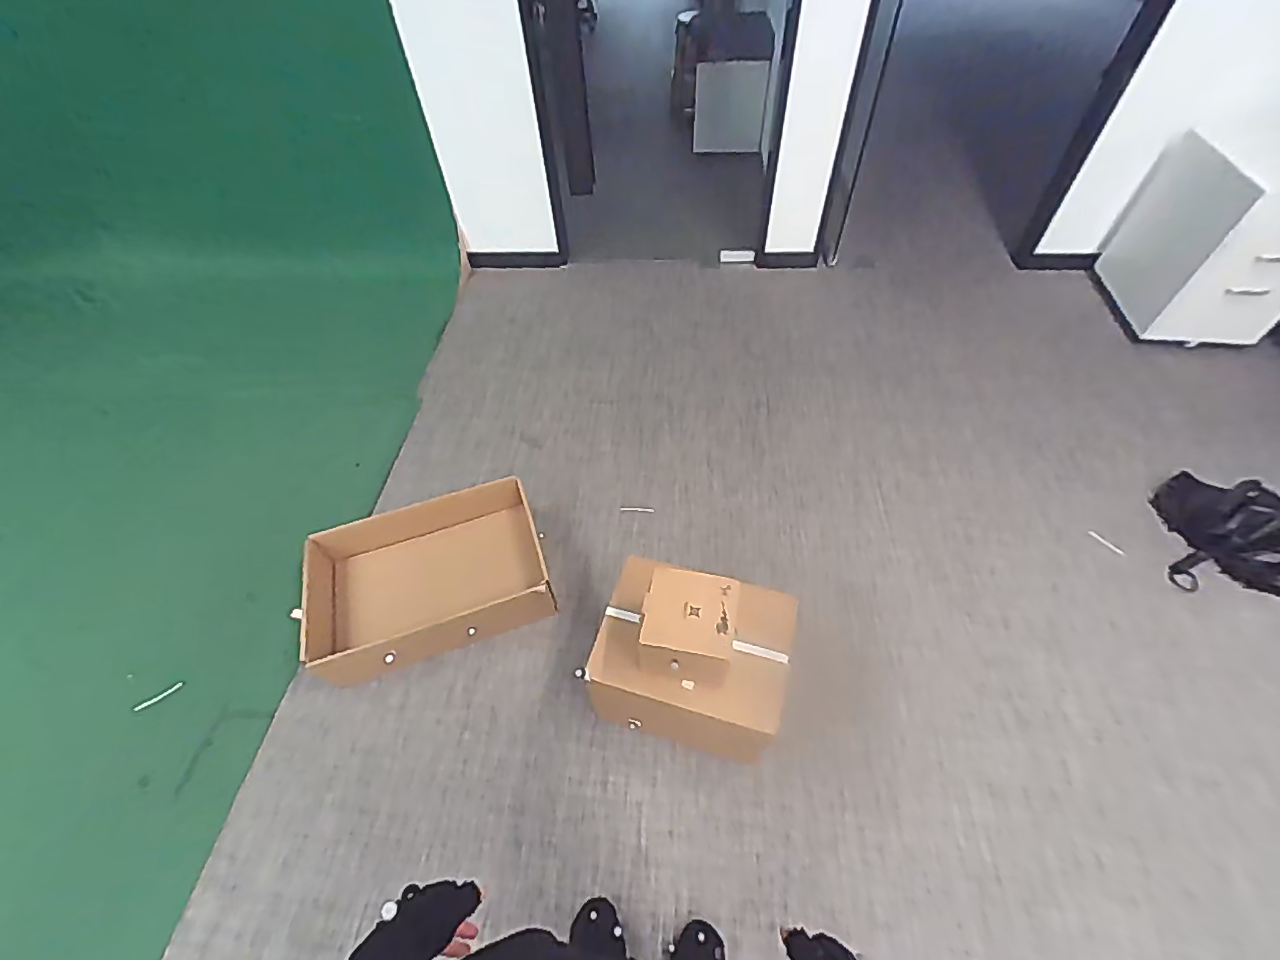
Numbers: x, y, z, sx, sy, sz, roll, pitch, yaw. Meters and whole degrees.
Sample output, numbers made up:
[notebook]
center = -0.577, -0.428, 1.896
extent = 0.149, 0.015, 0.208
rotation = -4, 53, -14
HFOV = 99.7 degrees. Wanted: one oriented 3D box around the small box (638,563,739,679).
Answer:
[small box]
center = 0.100, 0.291, 1.102
extent = 0.179, 0.176, 0.168
rotation = 7, 54, 9
